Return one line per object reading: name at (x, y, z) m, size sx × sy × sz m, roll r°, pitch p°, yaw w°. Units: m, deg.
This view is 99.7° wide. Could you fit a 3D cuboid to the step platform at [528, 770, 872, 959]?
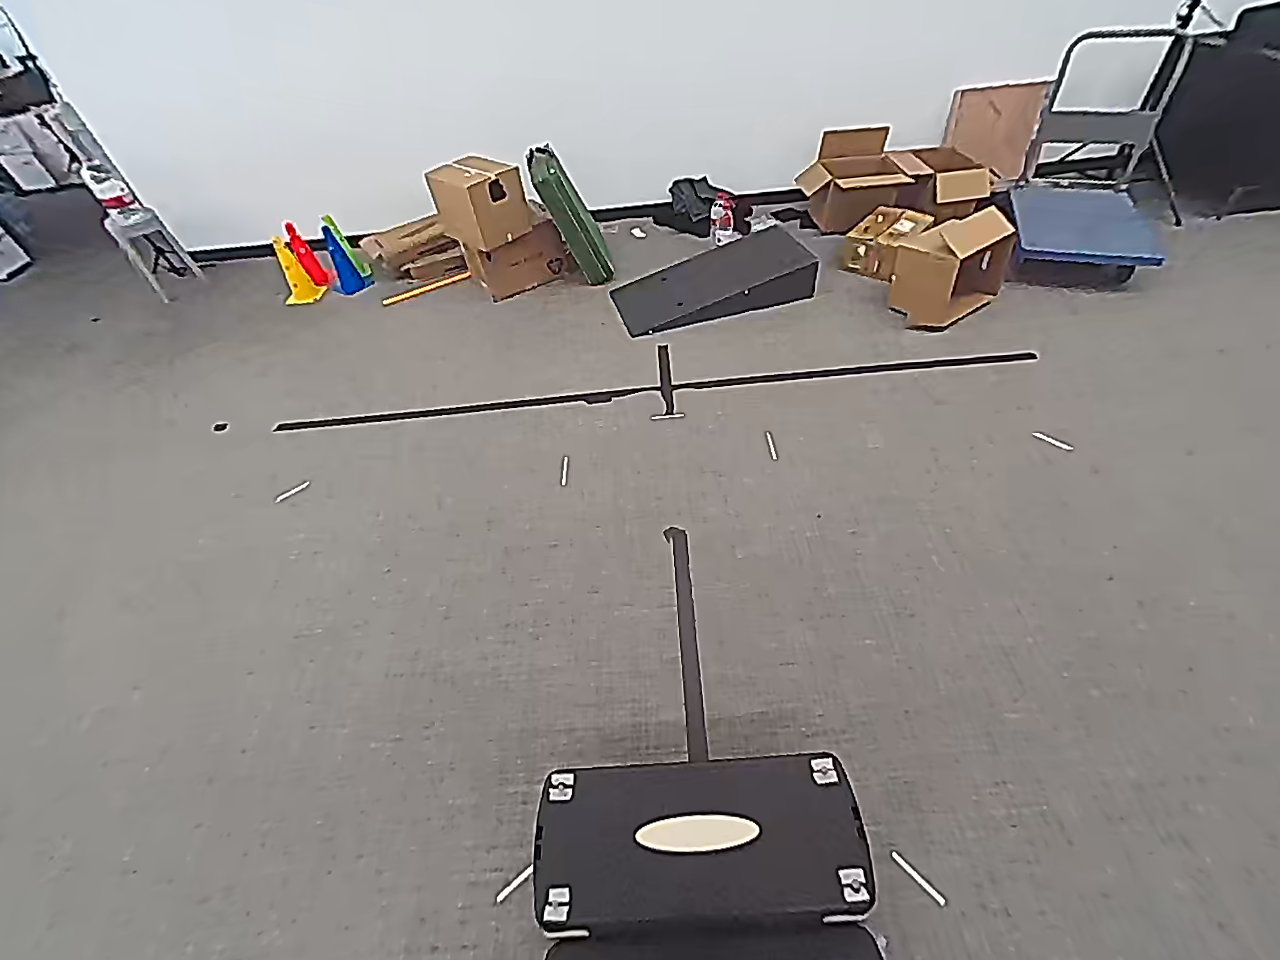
step platform at (0.113, 0.802, 1.137) m, size 0.684 × 0.204 × 0.286 m, roll -5°, pitch 47°, yaw 1°
